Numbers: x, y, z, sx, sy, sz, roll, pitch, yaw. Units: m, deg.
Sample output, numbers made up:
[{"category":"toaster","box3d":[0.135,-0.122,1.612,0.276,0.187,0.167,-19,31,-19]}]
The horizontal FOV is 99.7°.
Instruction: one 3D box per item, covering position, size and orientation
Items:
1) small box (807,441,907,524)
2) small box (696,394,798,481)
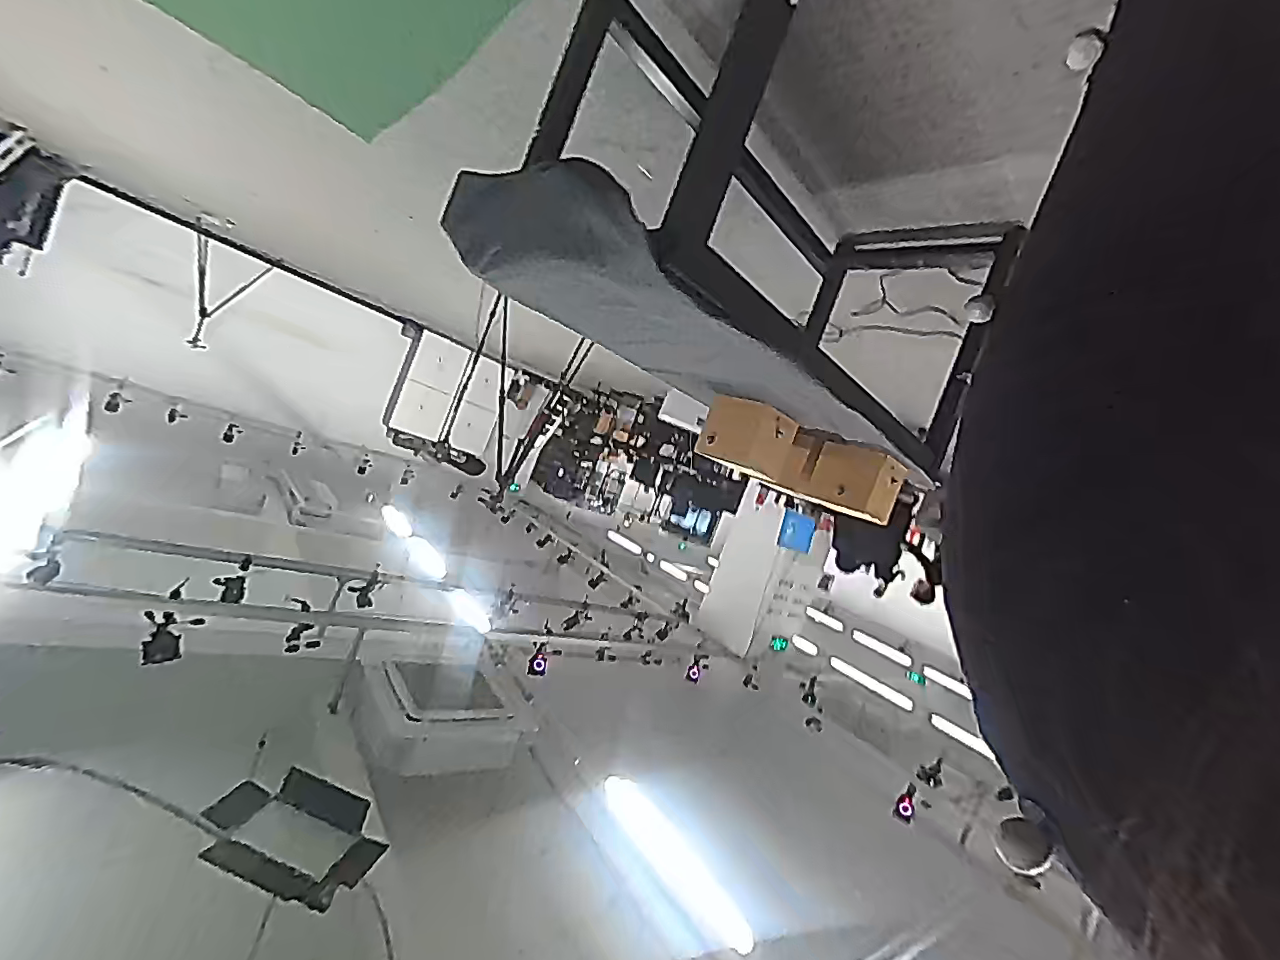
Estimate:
[{"category":"small box","box3d":[0.596,0.001,1.478,0.168,0.176,0.179,20,180,-44]},{"category":"small box","box3d":[0.286,-0.116,1.432,0.168,0.176,0.179,19,-179,-44]}]
